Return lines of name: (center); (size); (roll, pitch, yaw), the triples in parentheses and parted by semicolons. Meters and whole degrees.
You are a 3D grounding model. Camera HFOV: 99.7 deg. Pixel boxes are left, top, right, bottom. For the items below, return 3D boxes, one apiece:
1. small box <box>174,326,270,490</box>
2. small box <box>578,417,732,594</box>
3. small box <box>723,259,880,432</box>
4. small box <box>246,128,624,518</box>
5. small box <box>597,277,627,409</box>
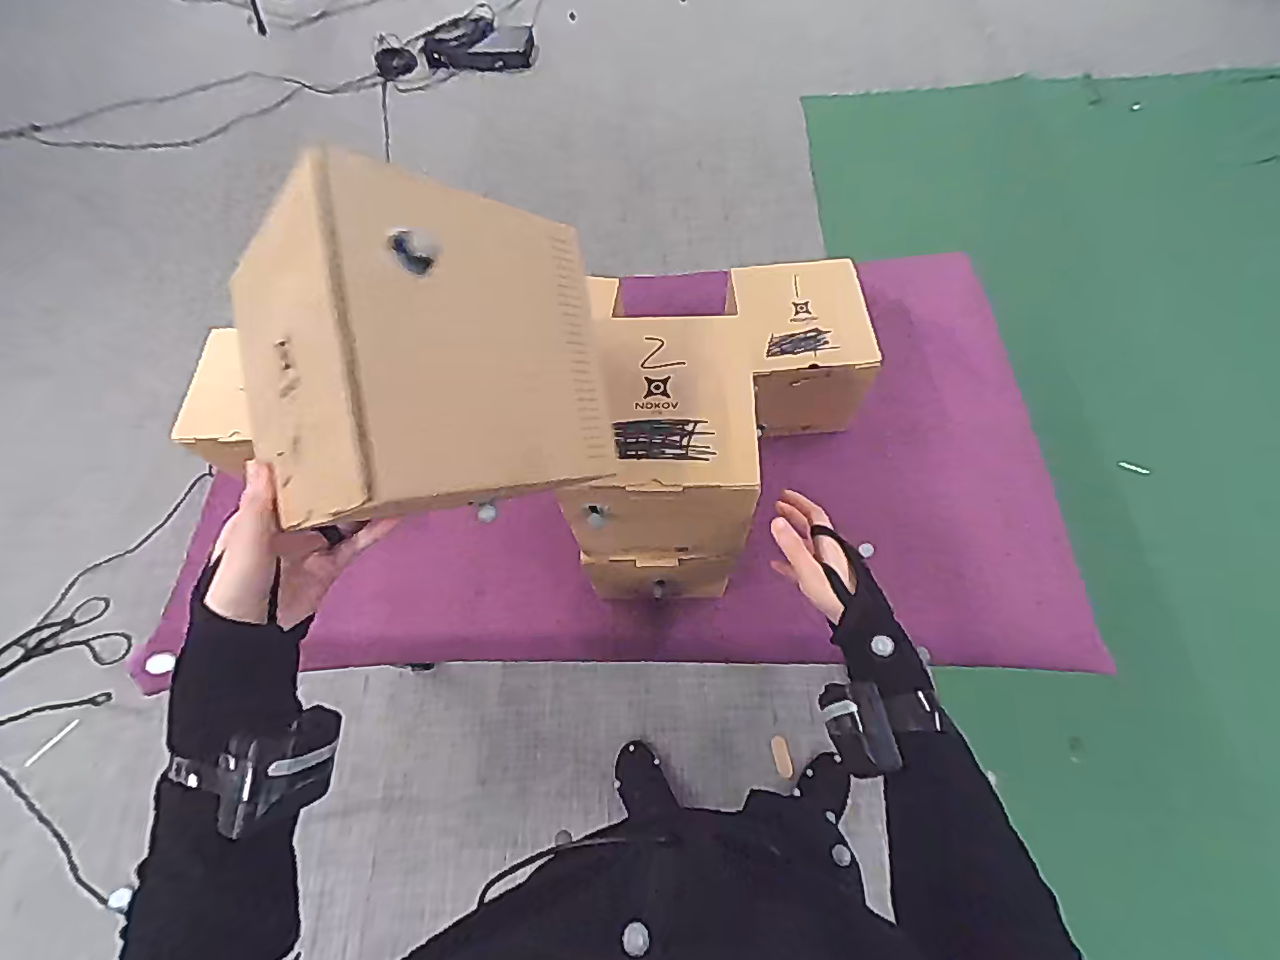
small box: (-0.487, -0.097, 0.765); (0.168, 0.176, 0.179); (-2, 66, 2)
small box: (0.022, 0.041, 0.669); (0.168, 0.176, 0.179); (-1, 65, 3)
small box: (0.211, -0.177, 0.759); (0.168, 0.176, 0.179); (-3, 64, 2)
small box: (-0.132, -0.076, 0.362); (0.168, 0.176, 0.179); (-11, 87, 41)
small box: (-0.114, -0.170, 0.777); (0.168, 0.176, 0.179); (7, 66, 6)
